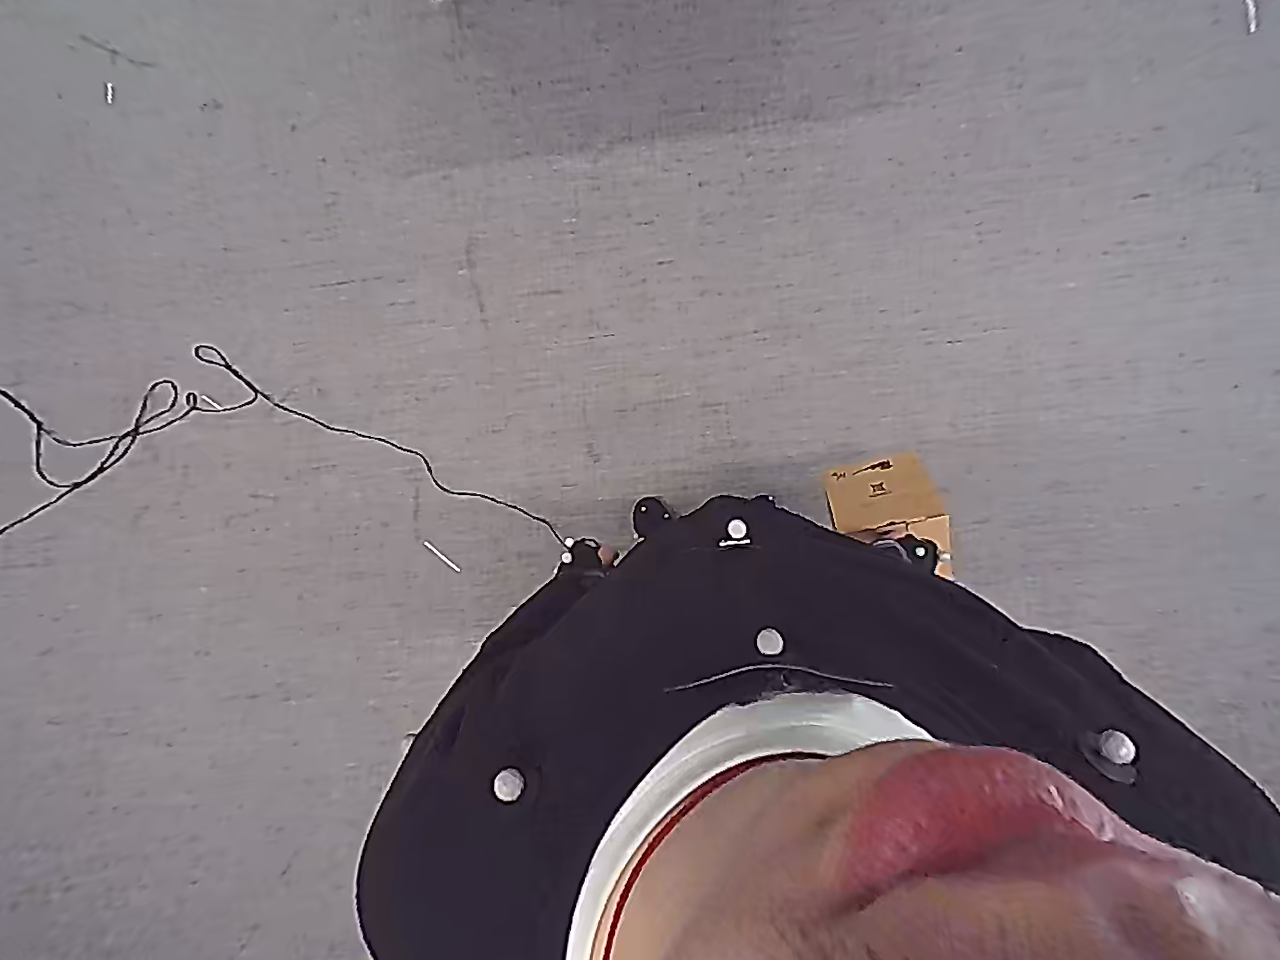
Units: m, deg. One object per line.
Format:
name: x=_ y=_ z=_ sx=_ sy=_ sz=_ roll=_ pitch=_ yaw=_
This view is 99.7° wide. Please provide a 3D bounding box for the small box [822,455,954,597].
small box: x=0.437 y=0.088 z=0.959 sx=0.168 sy=0.179 sz=0.176 roll=-15 pitch=123 yaw=15
